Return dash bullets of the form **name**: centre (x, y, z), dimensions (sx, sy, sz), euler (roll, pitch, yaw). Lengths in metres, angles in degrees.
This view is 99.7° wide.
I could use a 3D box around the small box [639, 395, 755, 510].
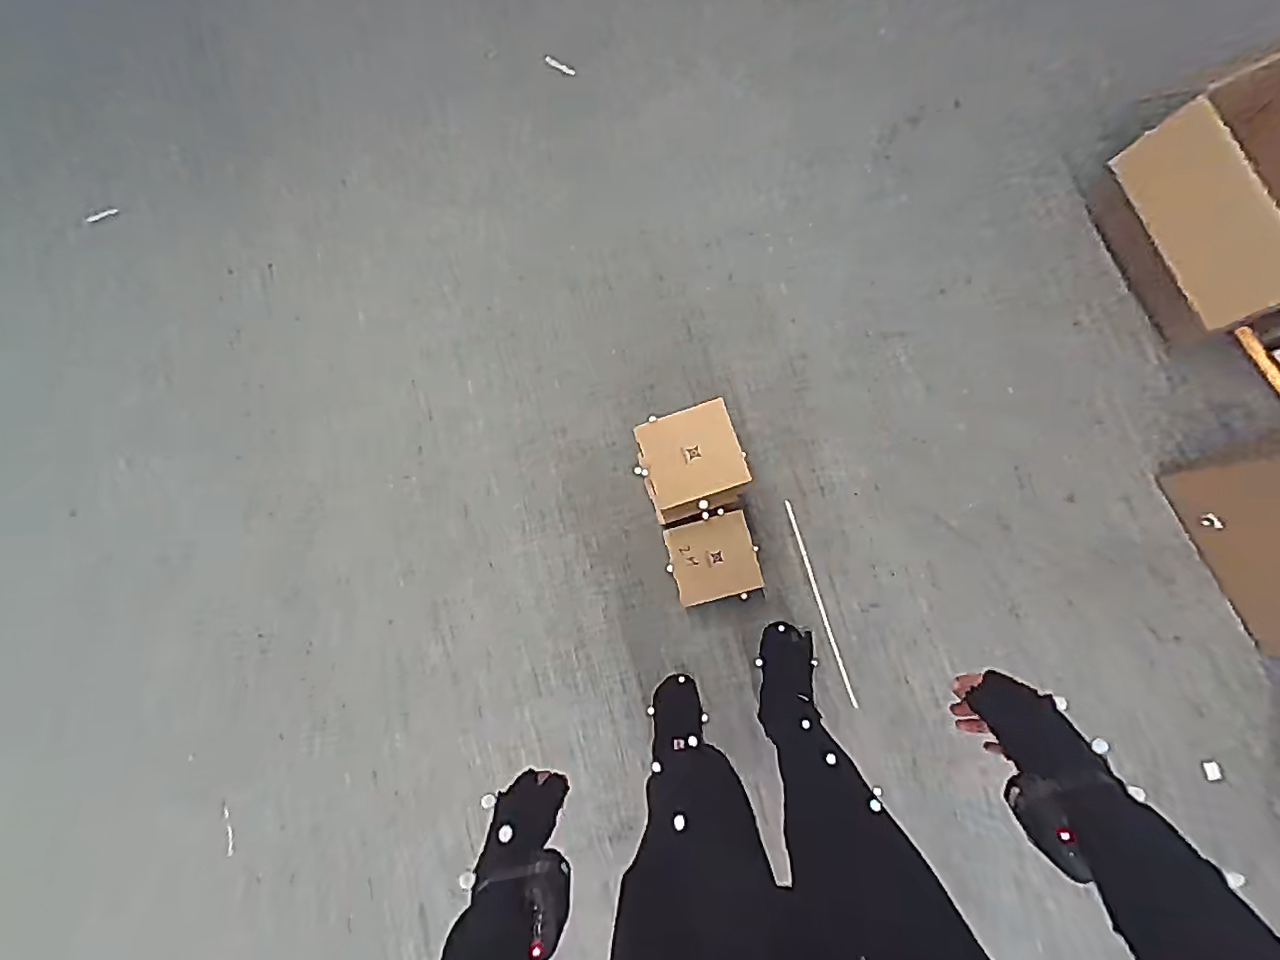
- **small box**: centre (0.108, -0.046, 1.057), dimensions (0.179, 0.176, 0.168), euler (-18, 81, 3)
